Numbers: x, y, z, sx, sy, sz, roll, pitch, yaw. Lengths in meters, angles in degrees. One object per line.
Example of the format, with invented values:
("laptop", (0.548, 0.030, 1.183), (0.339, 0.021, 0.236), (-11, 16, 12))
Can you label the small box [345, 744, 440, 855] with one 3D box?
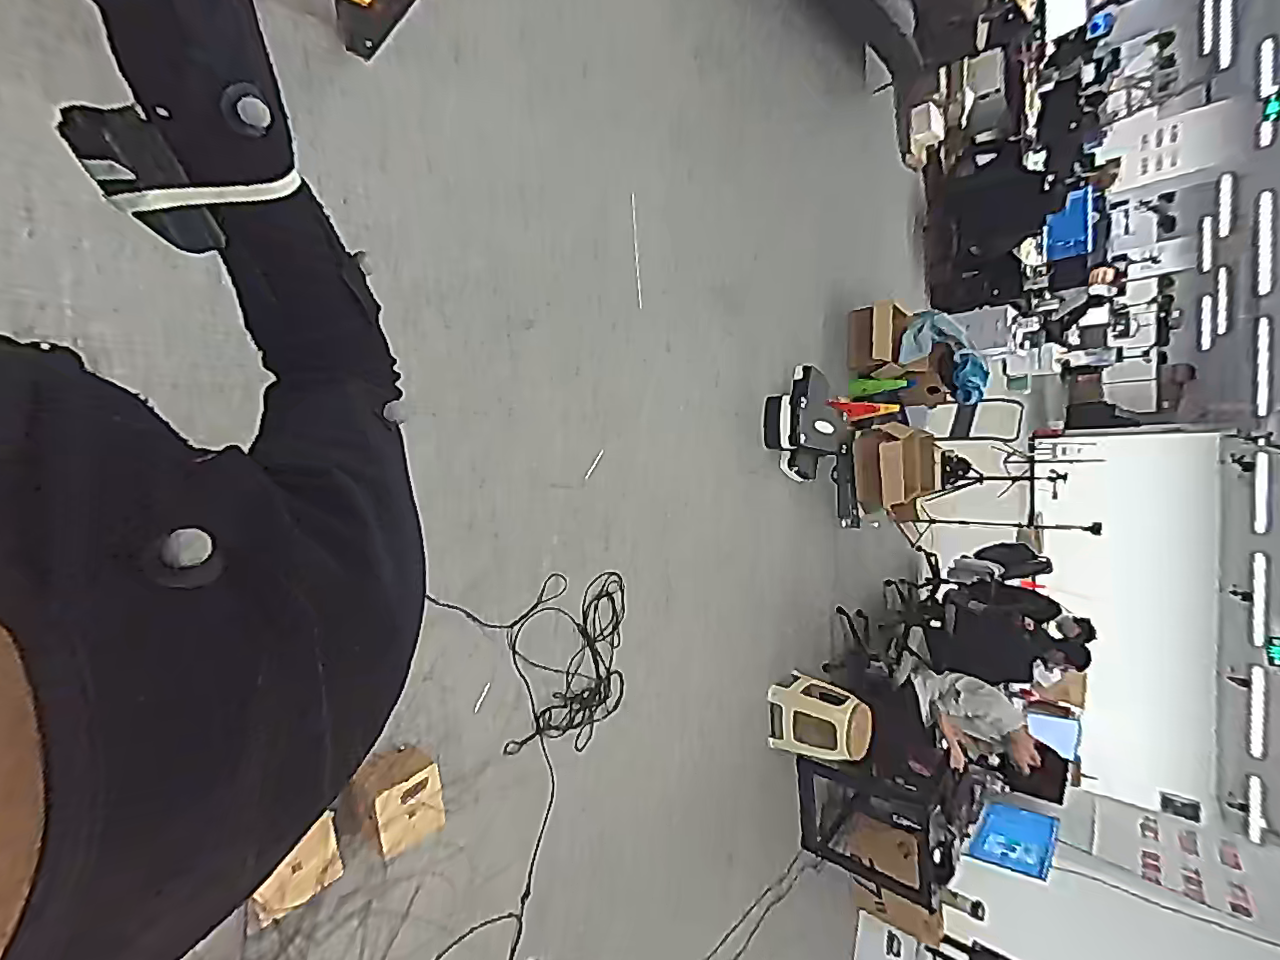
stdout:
("small box", (-0.657, 0.830, 1.432), (0.168, 0.176, 0.179), (-12, 100, -48))

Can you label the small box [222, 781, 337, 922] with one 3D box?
("small box", (-0.829, 0.838, 1.242), (0.168, 0.176, 0.179), (-17, 102, -48))
